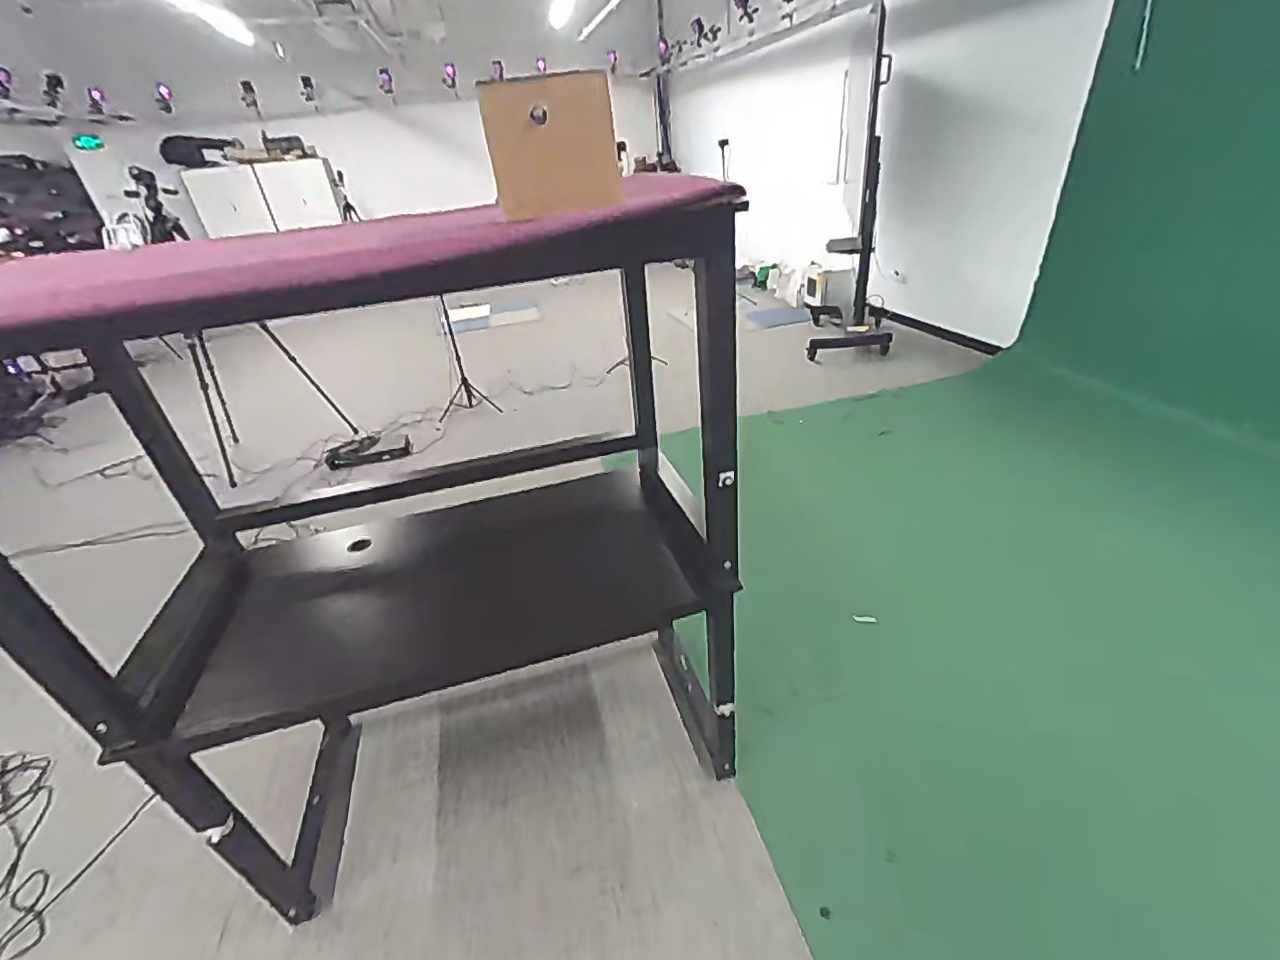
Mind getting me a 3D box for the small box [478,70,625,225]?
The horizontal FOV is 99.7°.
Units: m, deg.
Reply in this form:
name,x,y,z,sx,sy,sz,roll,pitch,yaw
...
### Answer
name,x,y,z,sx,sy,sz,roll,pitch,yaw
small box,-0.126,-0.484,0.806,0.179,0.176,0.168,-10,30,-5
